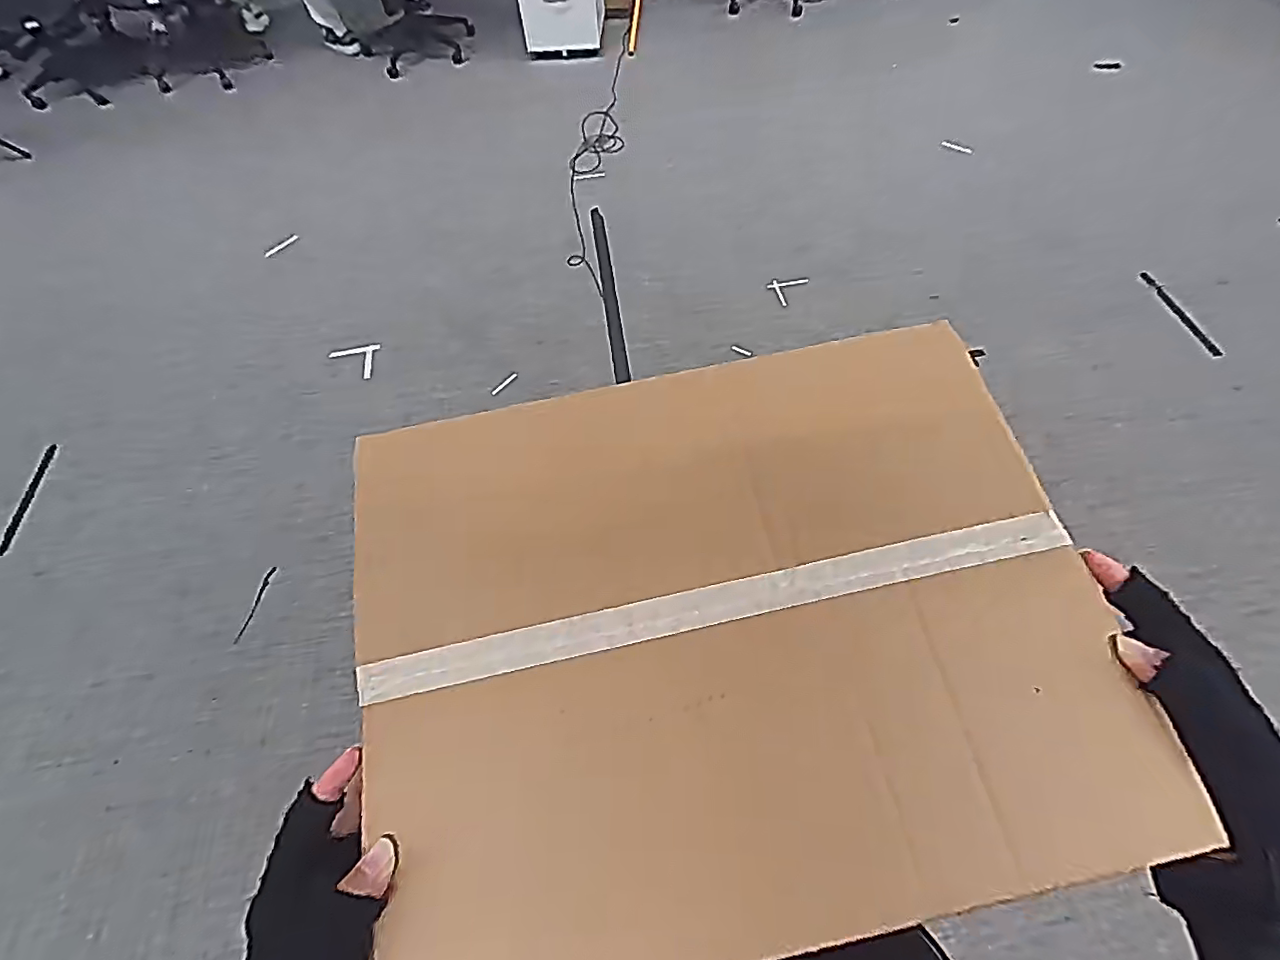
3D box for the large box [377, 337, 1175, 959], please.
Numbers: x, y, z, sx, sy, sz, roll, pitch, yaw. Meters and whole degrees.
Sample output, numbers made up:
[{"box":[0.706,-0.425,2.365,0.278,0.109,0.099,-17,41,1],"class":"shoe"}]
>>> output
[{"box":[0.051,0.135,0.456,0.408,0.320,0.320,-12,68,-3],"class":"large box"}]
